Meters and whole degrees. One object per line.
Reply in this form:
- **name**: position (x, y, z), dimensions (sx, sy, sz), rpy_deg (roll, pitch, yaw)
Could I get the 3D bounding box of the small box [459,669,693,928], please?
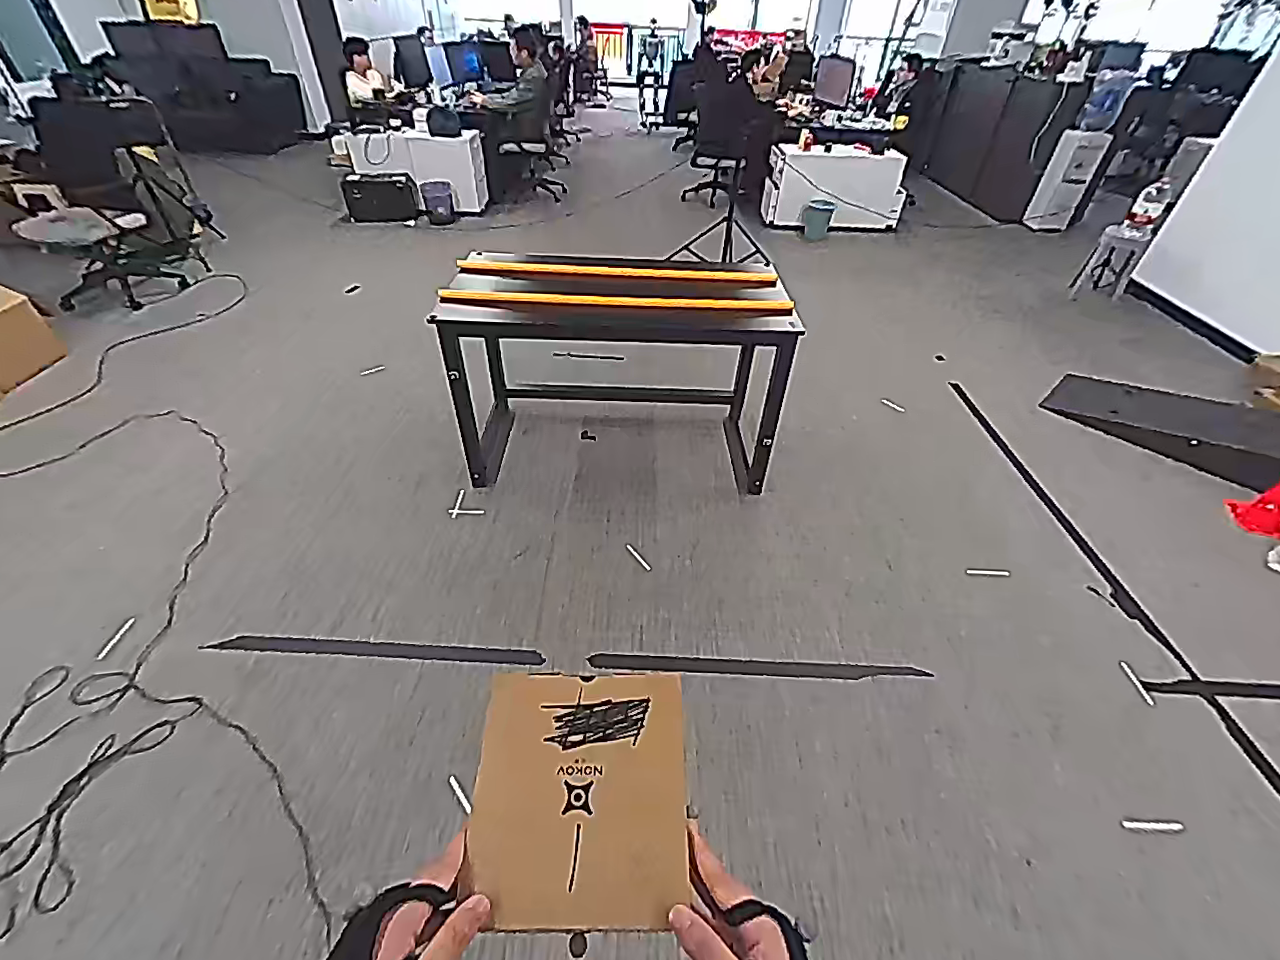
- **small box**: position (-0.043, 0.287, 0.486), dimensions (0.168, 0.176, 0.179), rpy_deg (0, 50, 1)
